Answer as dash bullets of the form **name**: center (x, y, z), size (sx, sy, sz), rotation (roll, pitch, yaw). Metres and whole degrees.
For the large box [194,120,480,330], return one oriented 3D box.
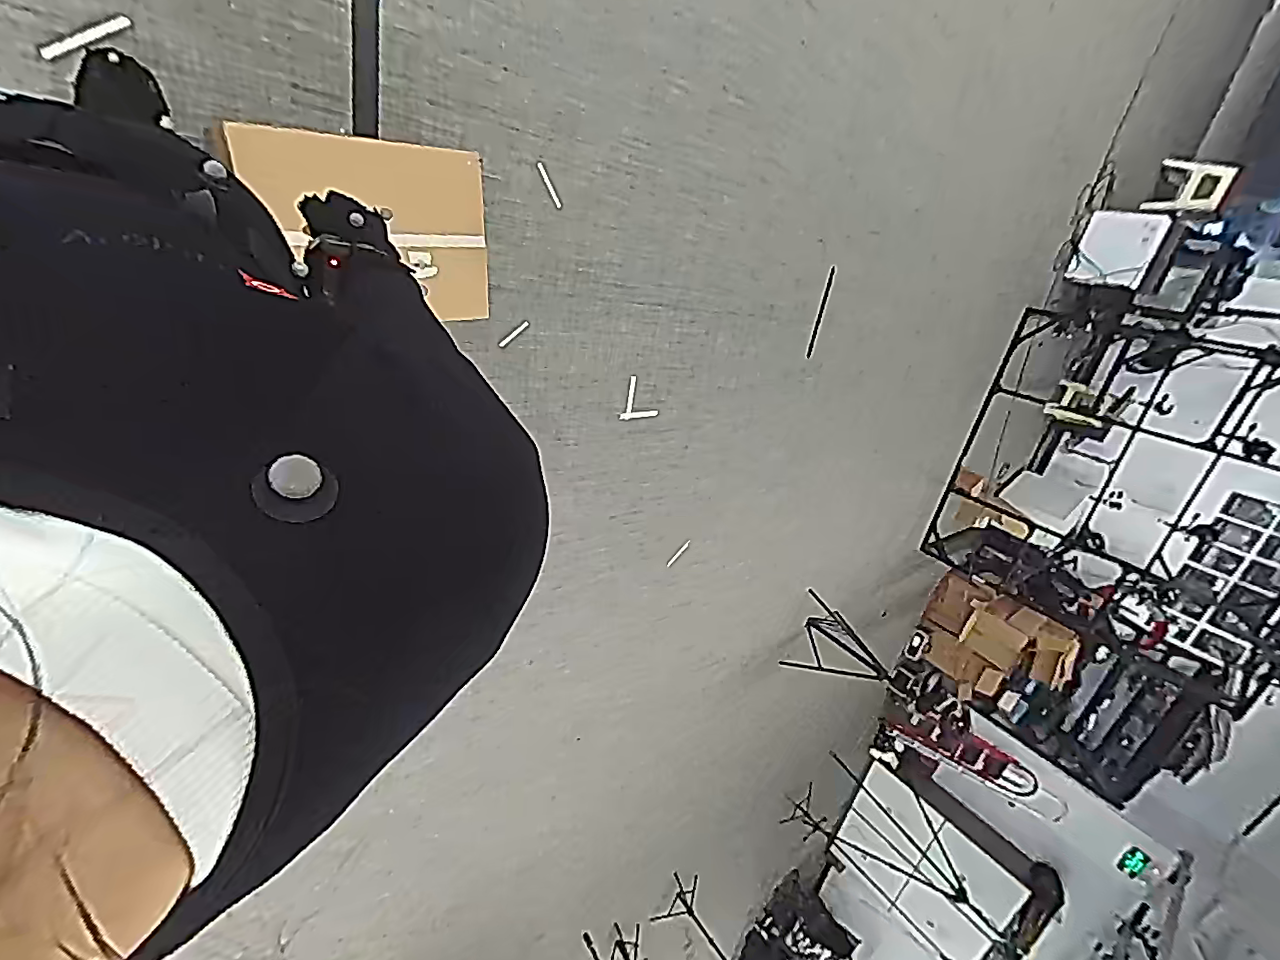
- **large box**: center (-0.580, -0.503, 1.073), size (0.408, 0.320, 0.320), rotation (-17, 126, -36)
